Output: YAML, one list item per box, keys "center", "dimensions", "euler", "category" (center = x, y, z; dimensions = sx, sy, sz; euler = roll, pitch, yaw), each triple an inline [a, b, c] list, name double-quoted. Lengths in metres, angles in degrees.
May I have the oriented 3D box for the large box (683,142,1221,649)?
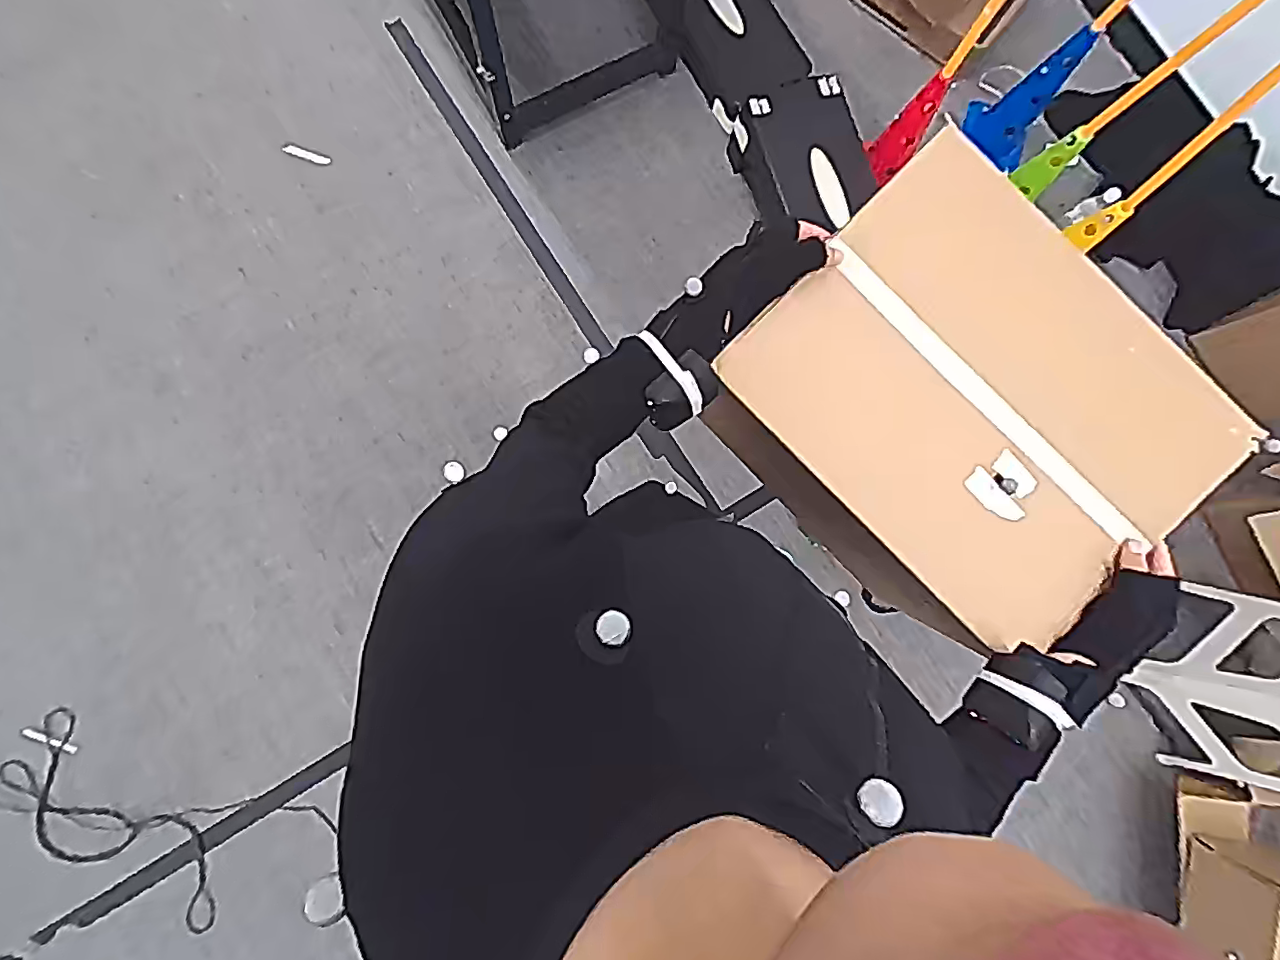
- center: [0.307, -0.082, 0.662]
  dimensions: [0.320, 0.320, 0.408]
  euler: [-45, 91, 2]
  category: "large box"
